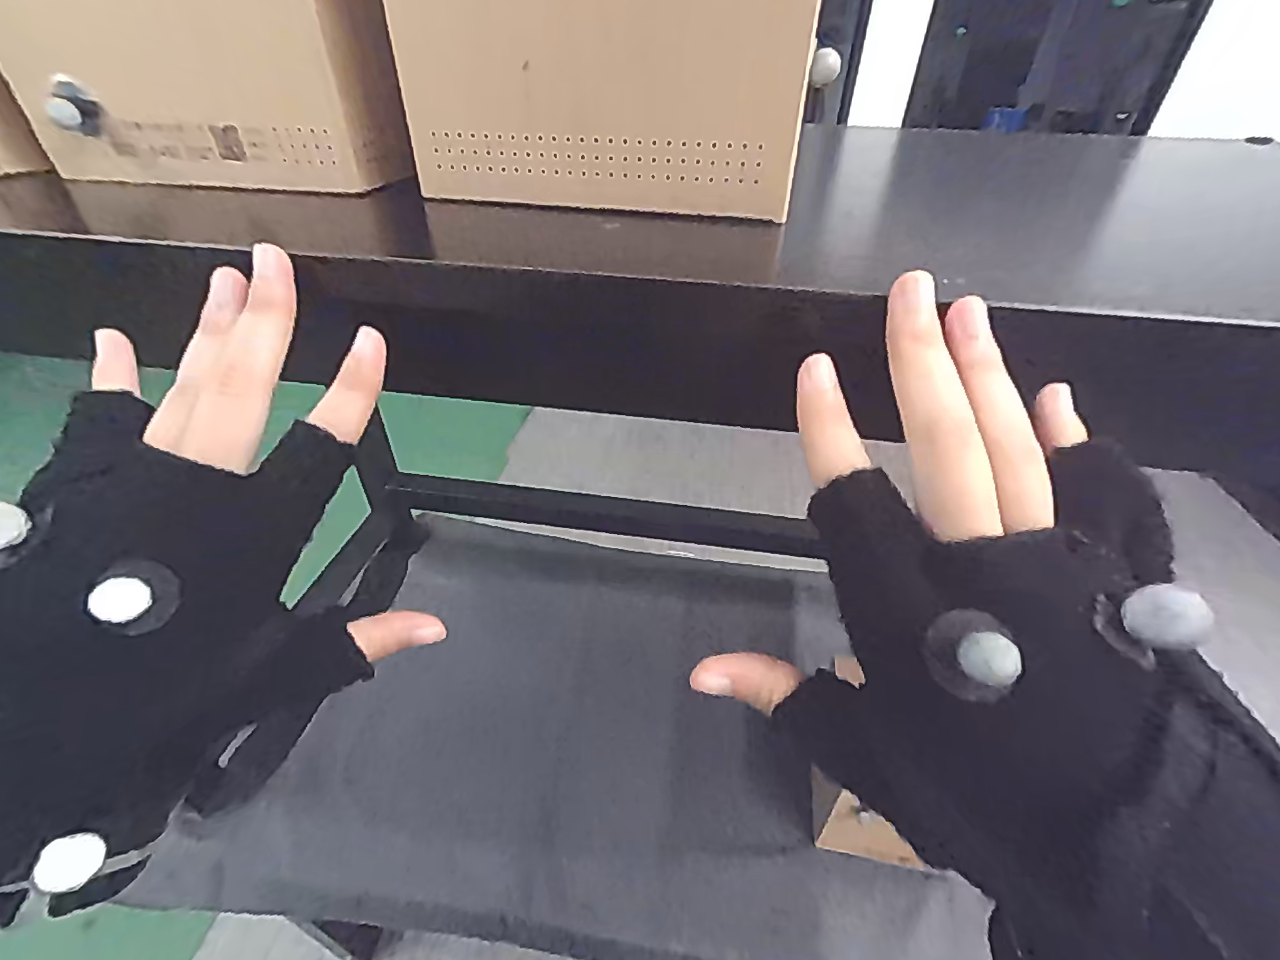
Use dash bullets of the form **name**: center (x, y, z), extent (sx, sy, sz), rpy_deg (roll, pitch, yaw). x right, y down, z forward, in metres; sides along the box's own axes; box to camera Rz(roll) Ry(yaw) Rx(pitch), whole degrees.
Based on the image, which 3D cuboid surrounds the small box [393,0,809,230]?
- **small box**: center (-0.007, -0.232, 0.269), extent (0.179, 0.176, 0.168), rpy_deg (9, 39, 9)
